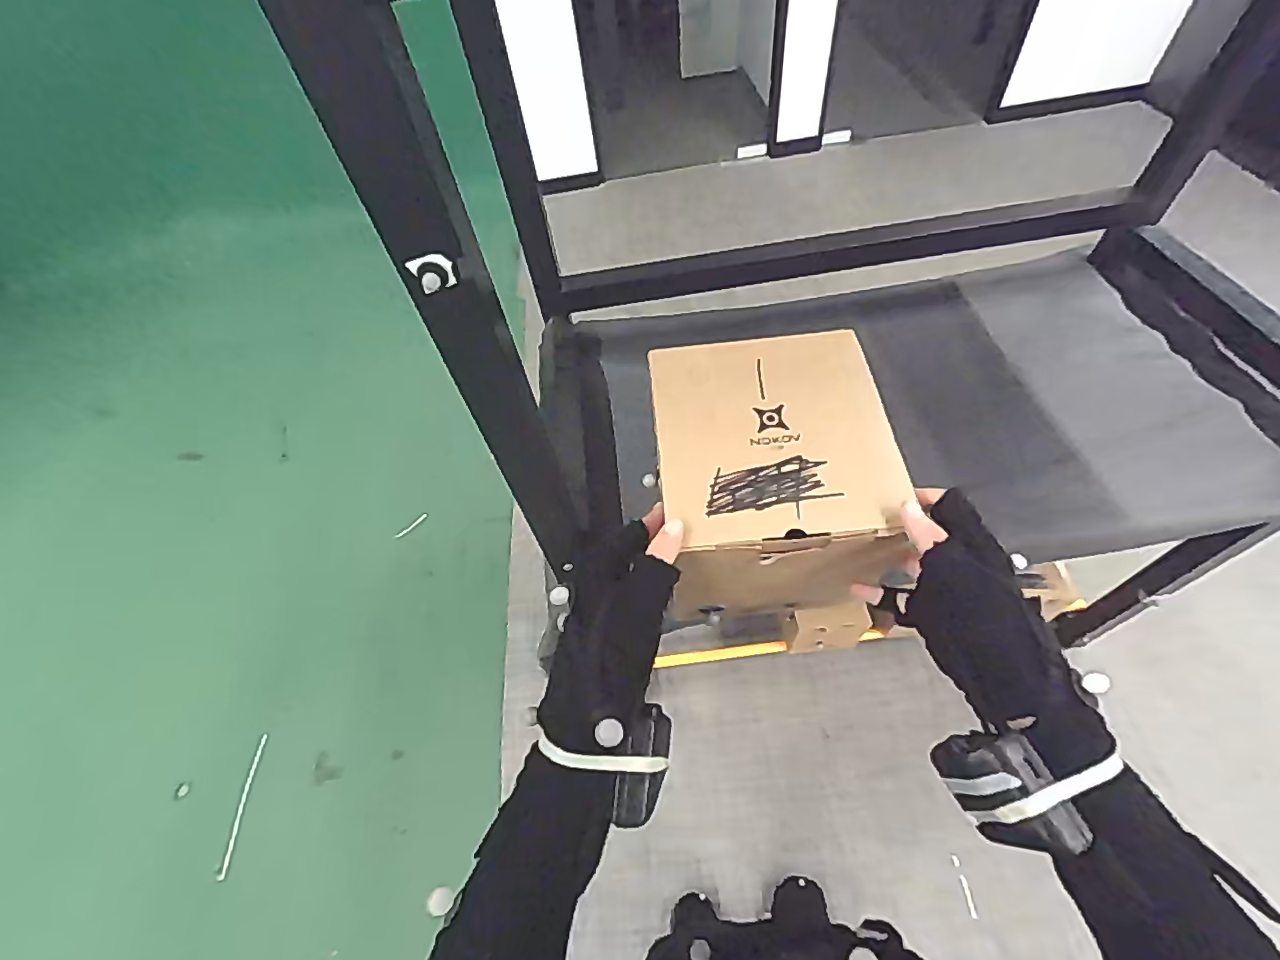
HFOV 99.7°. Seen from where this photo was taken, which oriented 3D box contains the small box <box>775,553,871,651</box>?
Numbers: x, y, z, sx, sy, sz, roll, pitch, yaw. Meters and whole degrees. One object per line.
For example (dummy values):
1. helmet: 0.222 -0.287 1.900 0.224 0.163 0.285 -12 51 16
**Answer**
1. small box: 0.431 0.298 1.307 0.168 0.176 0.179 -7 56 2
